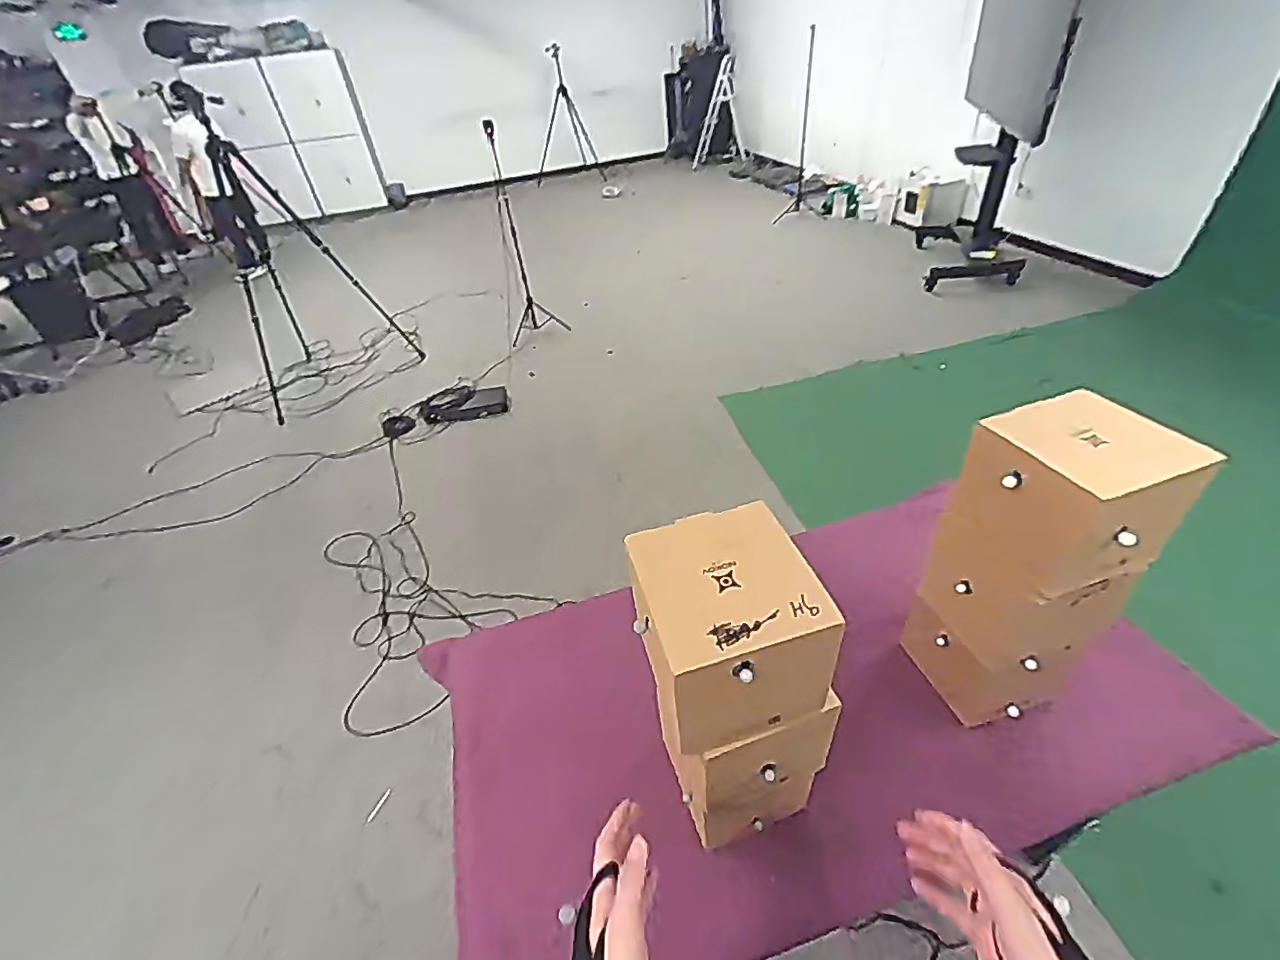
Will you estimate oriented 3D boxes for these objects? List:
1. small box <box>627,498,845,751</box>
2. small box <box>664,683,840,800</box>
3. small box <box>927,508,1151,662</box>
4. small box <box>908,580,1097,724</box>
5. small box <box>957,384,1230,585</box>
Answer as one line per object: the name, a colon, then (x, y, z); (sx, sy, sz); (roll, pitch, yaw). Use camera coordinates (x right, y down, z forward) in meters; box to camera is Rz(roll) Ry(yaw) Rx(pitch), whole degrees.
small box: (0.091, 0.151, 0.580); (0.168, 0.176, 0.179); (-15, 40, -7)
small box: (0.125, 0.274, 0.685); (0.168, 0.176, 0.179); (-16, 40, -10)
small box: (0.550, 0.137, 0.777); (0.168, 0.176, 0.179); (-16, 38, -7)
small box: (0.571, 0.260, 0.883); (0.168, 0.176, 0.179); (-15, 40, -6)
small box: (0.541, 0.009, 0.678); (0.168, 0.176, 0.179); (-17, 38, -8)
